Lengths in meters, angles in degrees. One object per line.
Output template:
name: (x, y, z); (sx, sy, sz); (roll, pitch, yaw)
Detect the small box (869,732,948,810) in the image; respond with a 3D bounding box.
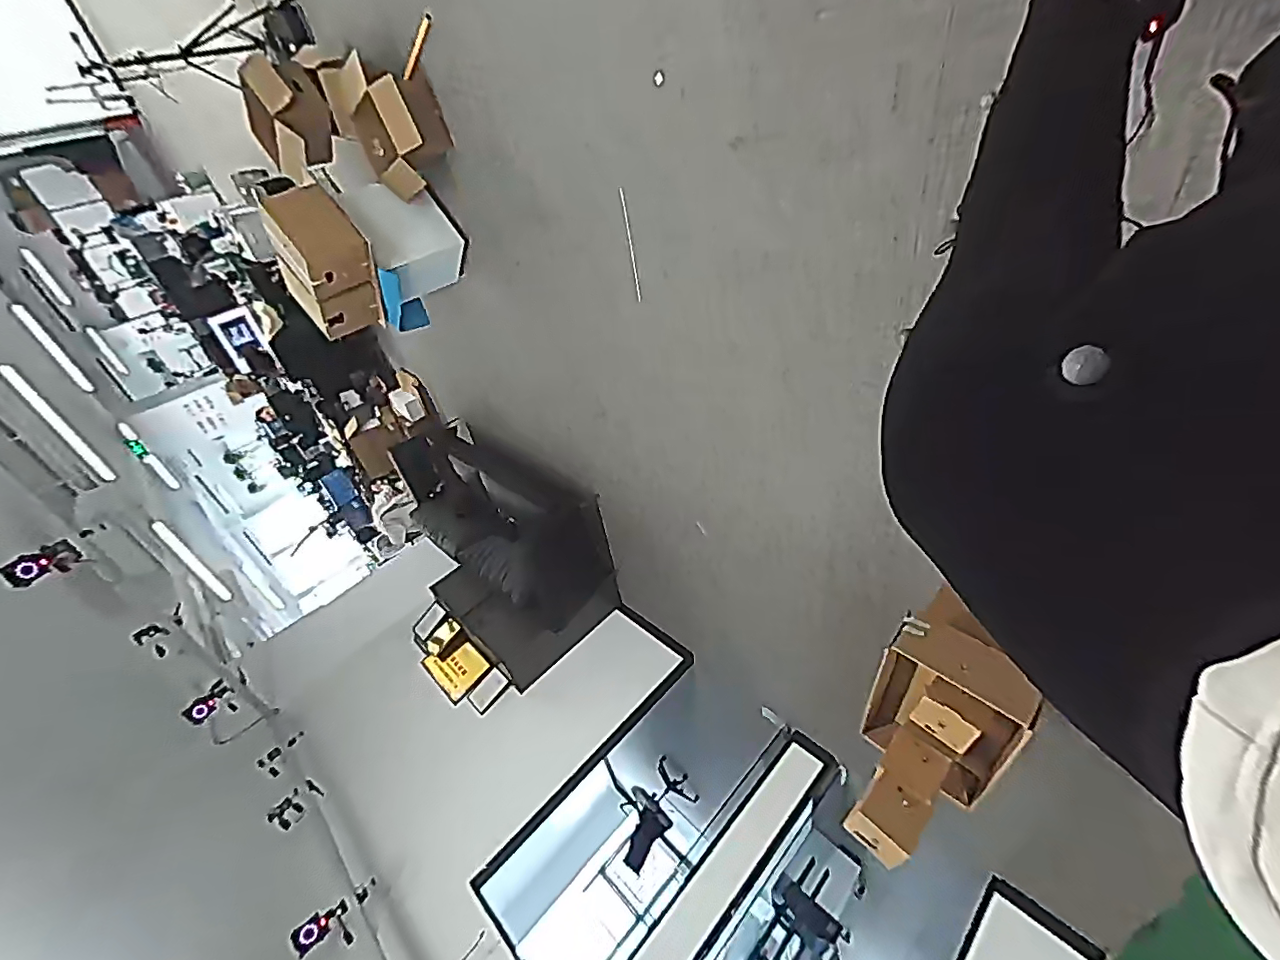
small box: (0.856, 0.956, 1.729); (0.168, 0.176, 0.179); (29, 140, 38)

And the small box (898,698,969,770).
small box: (0.970, 0.877, 1.813); (0.168, 0.176, 0.179); (28, 140, 36)

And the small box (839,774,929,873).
small box: (0.744, 1.043, 1.646); (0.168, 0.176, 0.179); (35, 143, 30)
